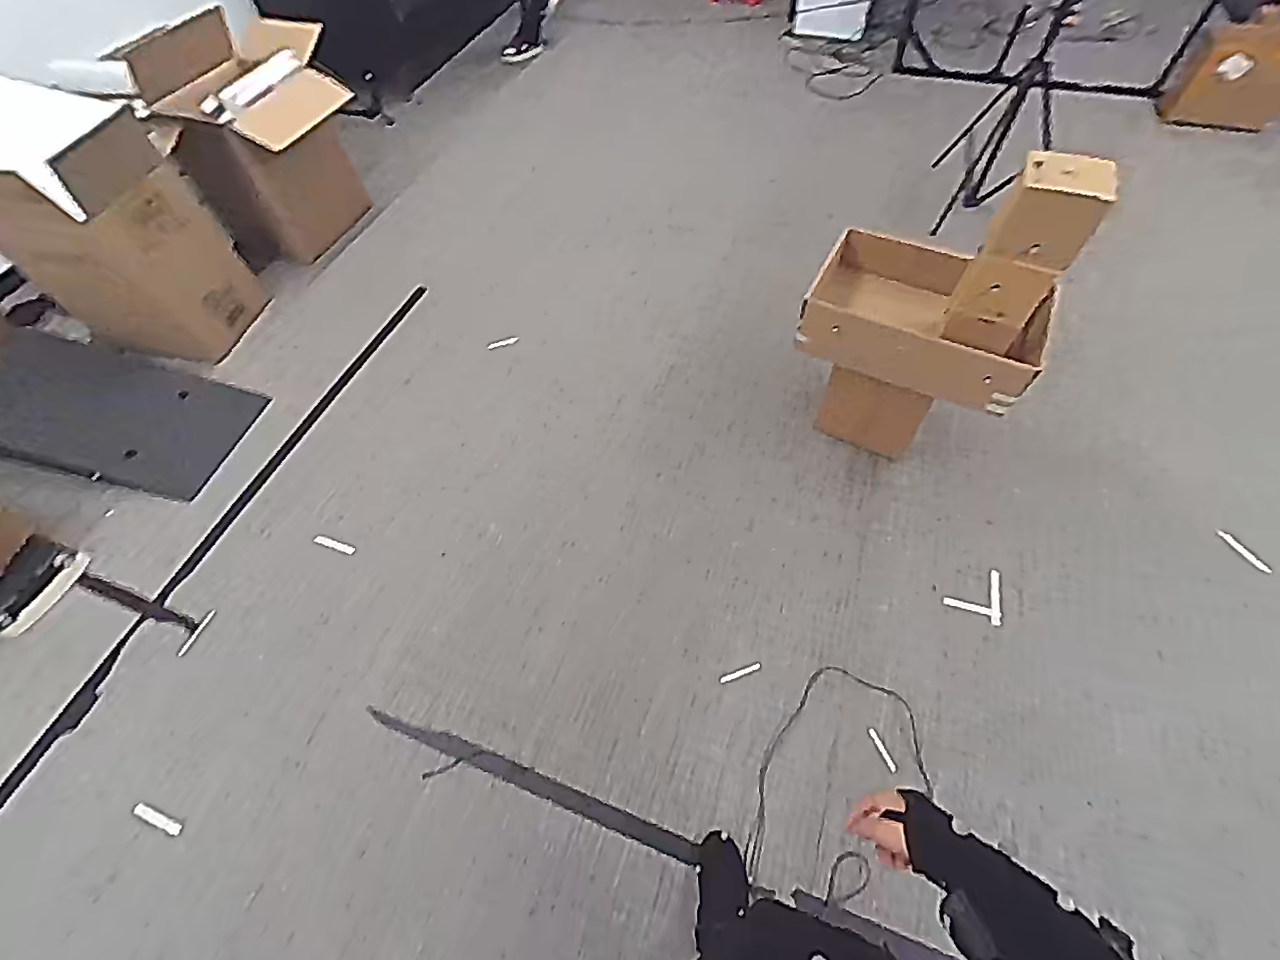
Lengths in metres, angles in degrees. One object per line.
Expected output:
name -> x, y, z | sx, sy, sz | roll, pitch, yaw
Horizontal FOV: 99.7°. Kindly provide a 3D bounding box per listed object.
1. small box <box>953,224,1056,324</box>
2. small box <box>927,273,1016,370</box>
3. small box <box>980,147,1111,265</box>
small box -> 0.915, -0.523, 1.359 | 0.168, 0.176, 0.179 | 22, 60, 16
small box -> 0.920, -0.435, 1.495 | 0.168, 0.176, 0.179 | 21, 60, 16
small box -> 0.912, -0.614, 1.223 | 0.179, 0.176, 0.168 | 20, 59, 15
